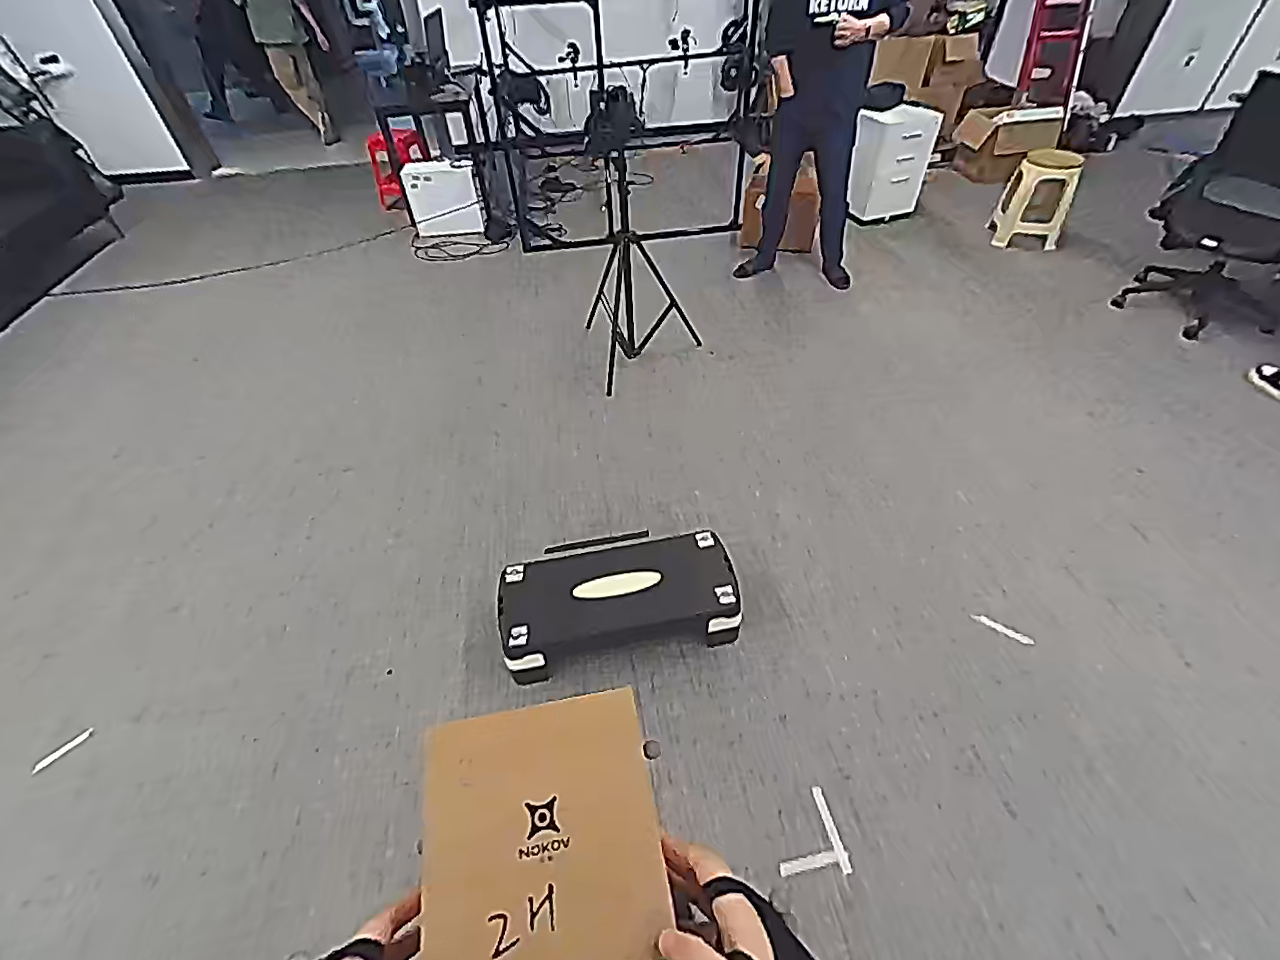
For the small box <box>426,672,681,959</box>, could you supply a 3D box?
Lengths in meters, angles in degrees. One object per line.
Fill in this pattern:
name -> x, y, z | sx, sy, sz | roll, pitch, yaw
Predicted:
small box -> -0.072, 0.286, 0.455 | 0.168, 0.176, 0.179 | -8, 55, -9
